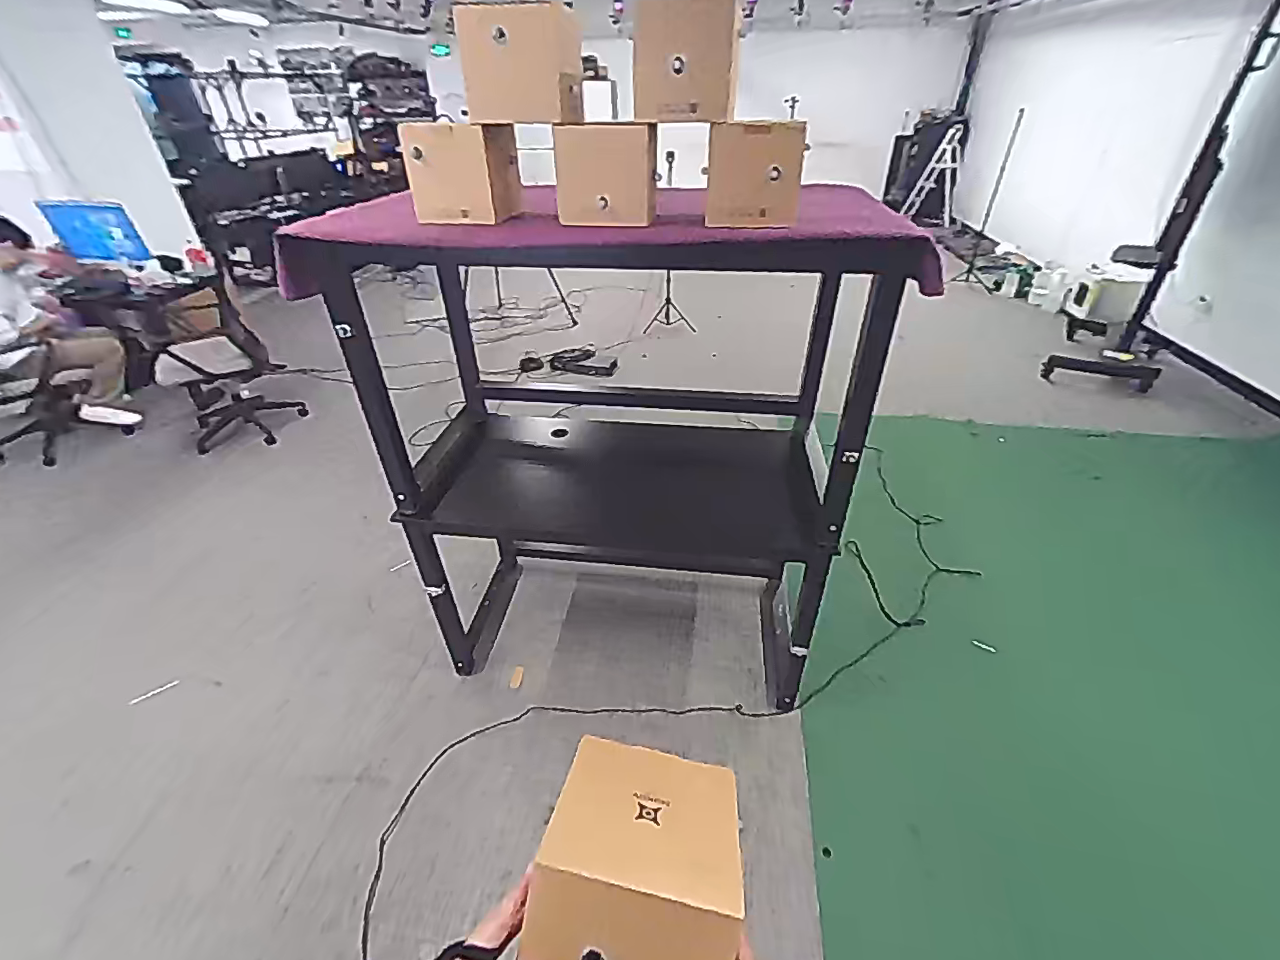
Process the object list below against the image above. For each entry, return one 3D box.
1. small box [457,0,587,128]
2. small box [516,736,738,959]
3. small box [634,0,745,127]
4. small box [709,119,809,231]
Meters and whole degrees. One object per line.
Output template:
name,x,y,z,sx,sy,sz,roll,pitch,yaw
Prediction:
small box,-0.202,-0.742,0.979,0.179,0.176,0.168,6,35,8
small box,-0.008,0.375,0.495,0.168,0.176,0.179,10,6,5
small box,0.090,-0.722,0.947,0.168,0.176,0.179,7,35,10
small box,0.222,-0.575,1.021,0.168,0.176,0.179,6,35,10
